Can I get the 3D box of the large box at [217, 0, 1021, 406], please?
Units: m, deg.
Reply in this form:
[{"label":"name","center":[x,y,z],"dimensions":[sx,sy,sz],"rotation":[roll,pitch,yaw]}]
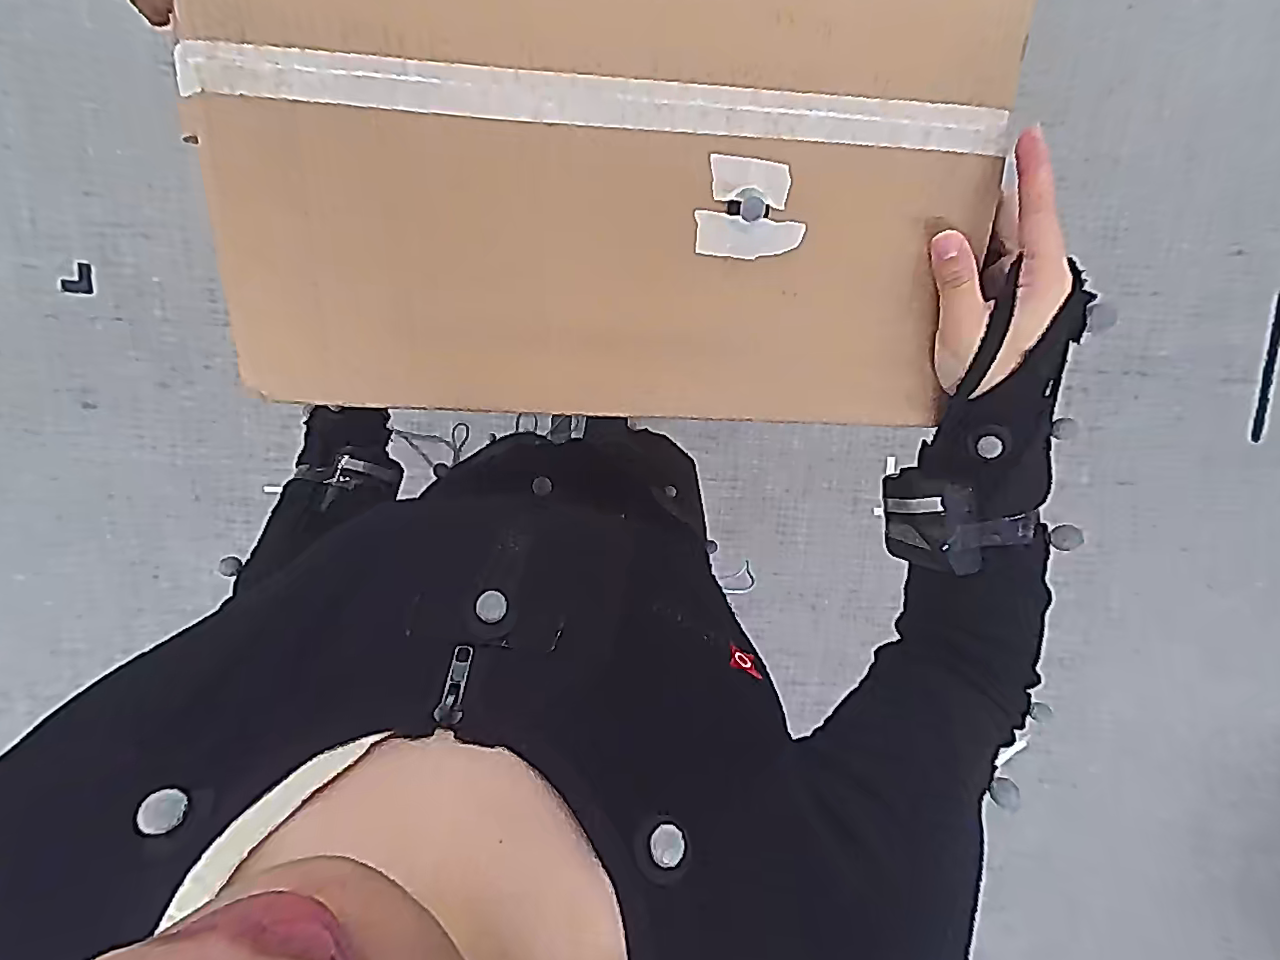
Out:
[{"label":"large box","center":[-0.018,-0.237,0.422],"dimensions":[0.408,0.320,0.320],"rotation":[1,108,-6]}]
